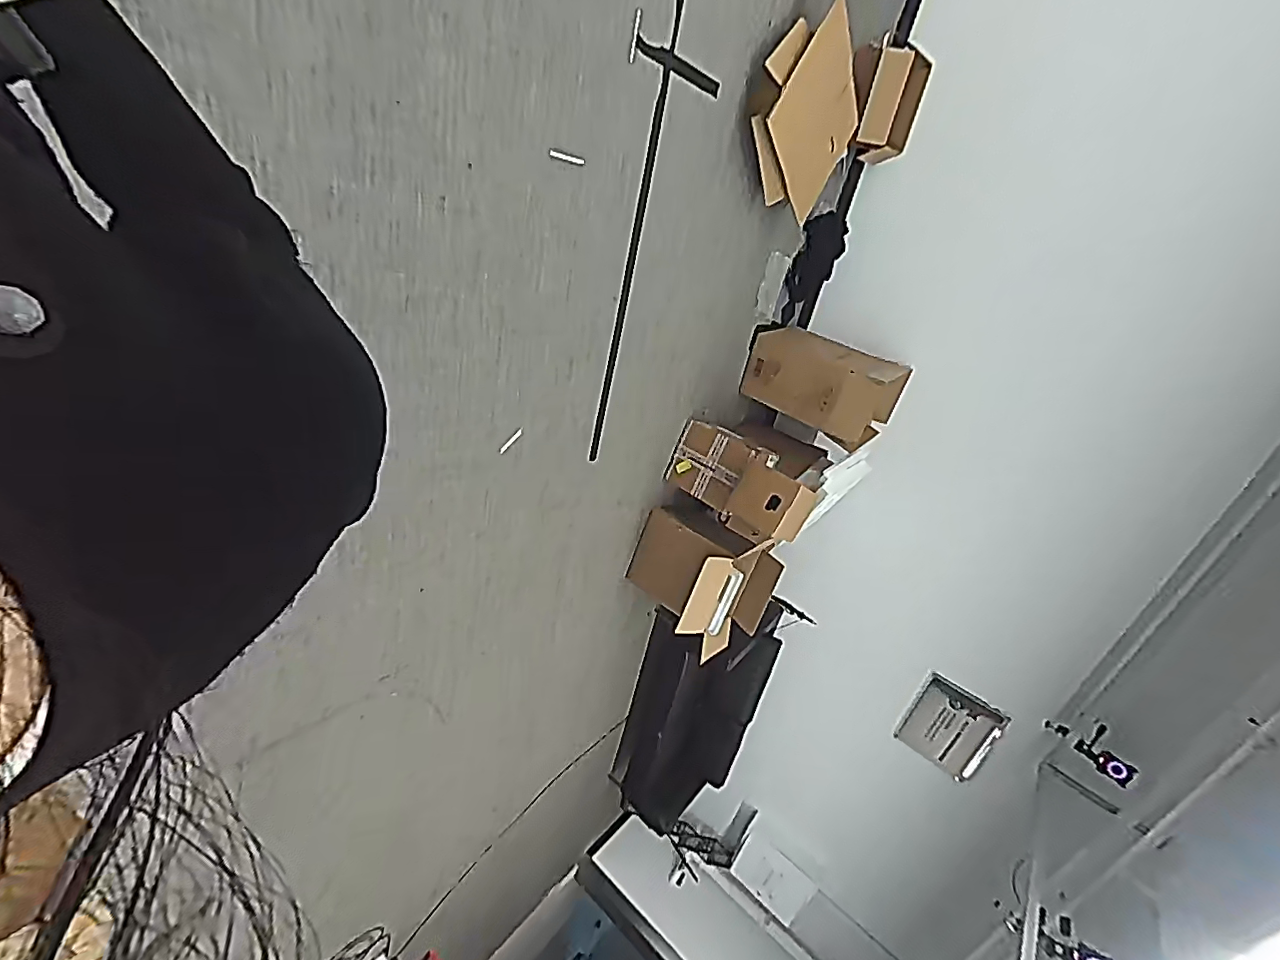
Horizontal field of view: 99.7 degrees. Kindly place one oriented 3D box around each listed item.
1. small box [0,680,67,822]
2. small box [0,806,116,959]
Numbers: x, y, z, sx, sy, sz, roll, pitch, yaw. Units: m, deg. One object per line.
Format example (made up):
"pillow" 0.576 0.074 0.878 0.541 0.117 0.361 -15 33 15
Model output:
"small box" -1.158 0.488 0.940 0.179 0.176 0.168 -21 131 -47
"small box" -0.907 0.631 0.781 0.179 0.176 0.168 -18 130 -51
